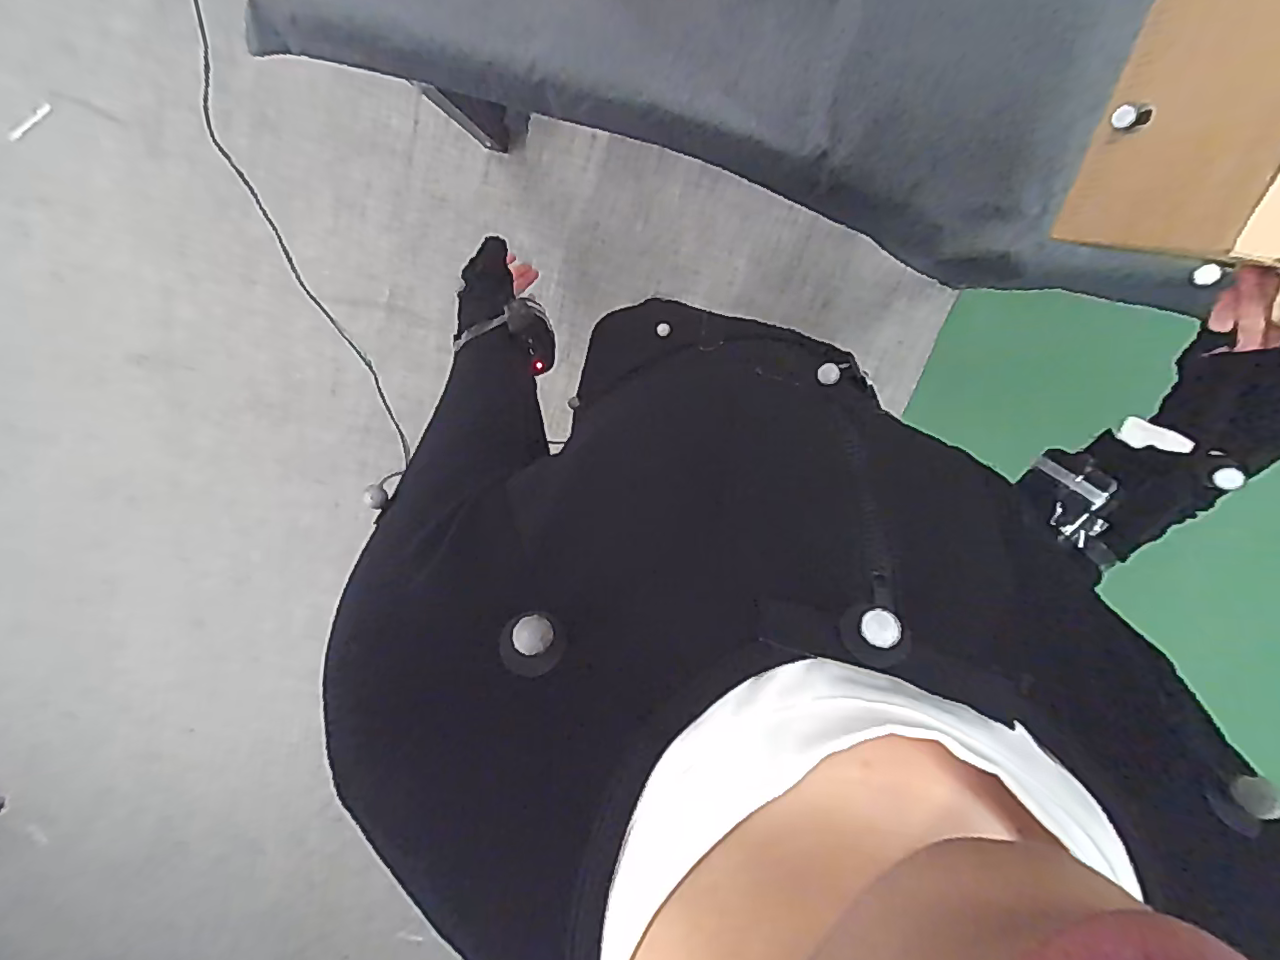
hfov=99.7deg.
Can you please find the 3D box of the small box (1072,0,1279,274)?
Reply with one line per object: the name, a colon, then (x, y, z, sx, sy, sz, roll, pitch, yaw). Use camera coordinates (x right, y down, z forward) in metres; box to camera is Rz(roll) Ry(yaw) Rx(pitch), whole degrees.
small box: (0.453, -0.239, 0.367, 0.168, 0.176, 0.179, 7, 118, -3)
